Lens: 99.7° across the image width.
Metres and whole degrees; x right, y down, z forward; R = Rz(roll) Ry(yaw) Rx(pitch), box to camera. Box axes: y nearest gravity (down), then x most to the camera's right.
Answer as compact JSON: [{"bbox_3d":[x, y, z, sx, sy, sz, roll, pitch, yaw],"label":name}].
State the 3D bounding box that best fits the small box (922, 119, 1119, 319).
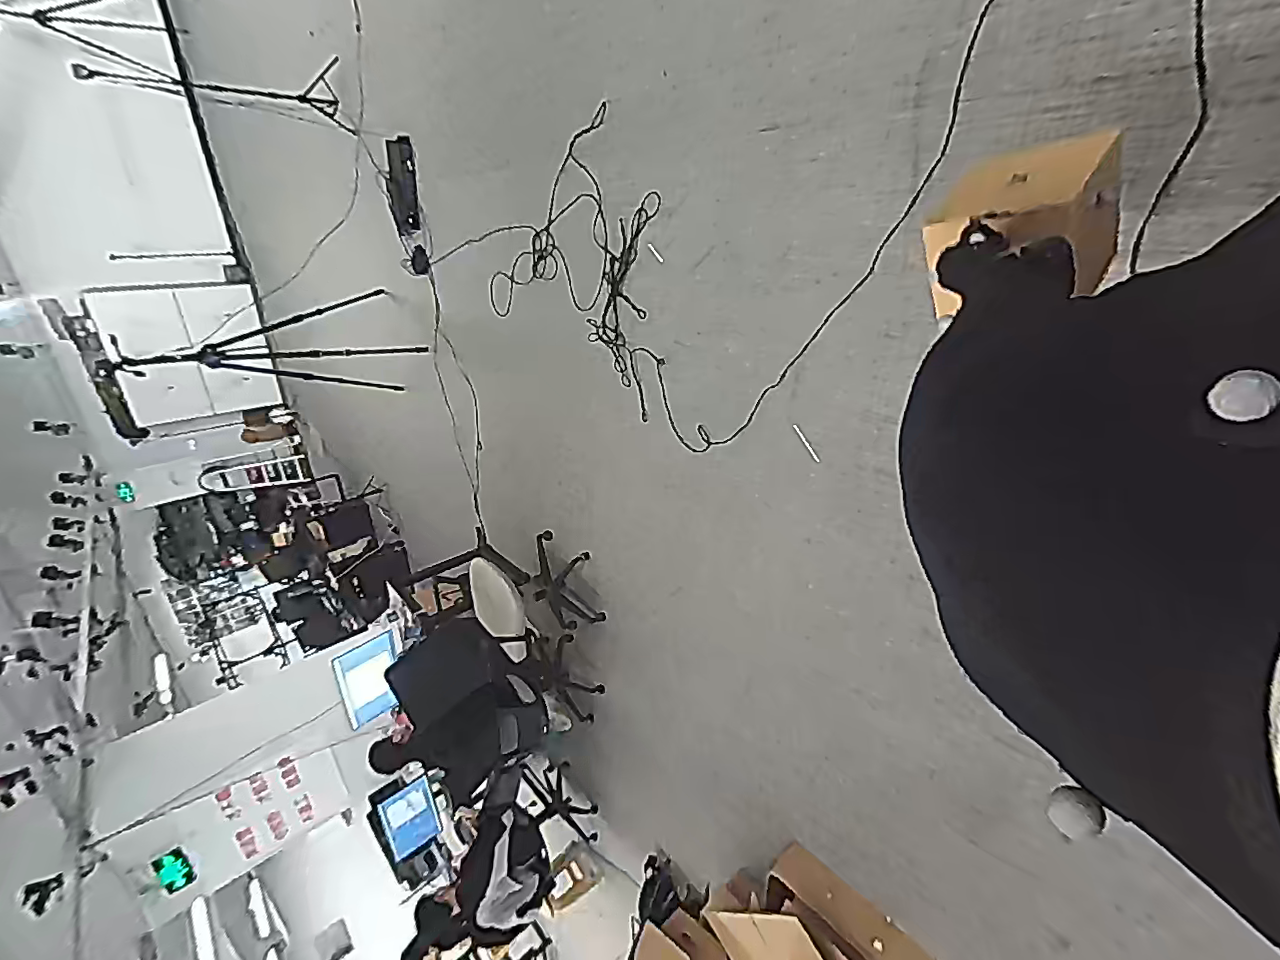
[{"bbox_3d":[0.513,-0.342,0.735,0.168,0.179,0.176,18,151,48],"label":"small box"}]
